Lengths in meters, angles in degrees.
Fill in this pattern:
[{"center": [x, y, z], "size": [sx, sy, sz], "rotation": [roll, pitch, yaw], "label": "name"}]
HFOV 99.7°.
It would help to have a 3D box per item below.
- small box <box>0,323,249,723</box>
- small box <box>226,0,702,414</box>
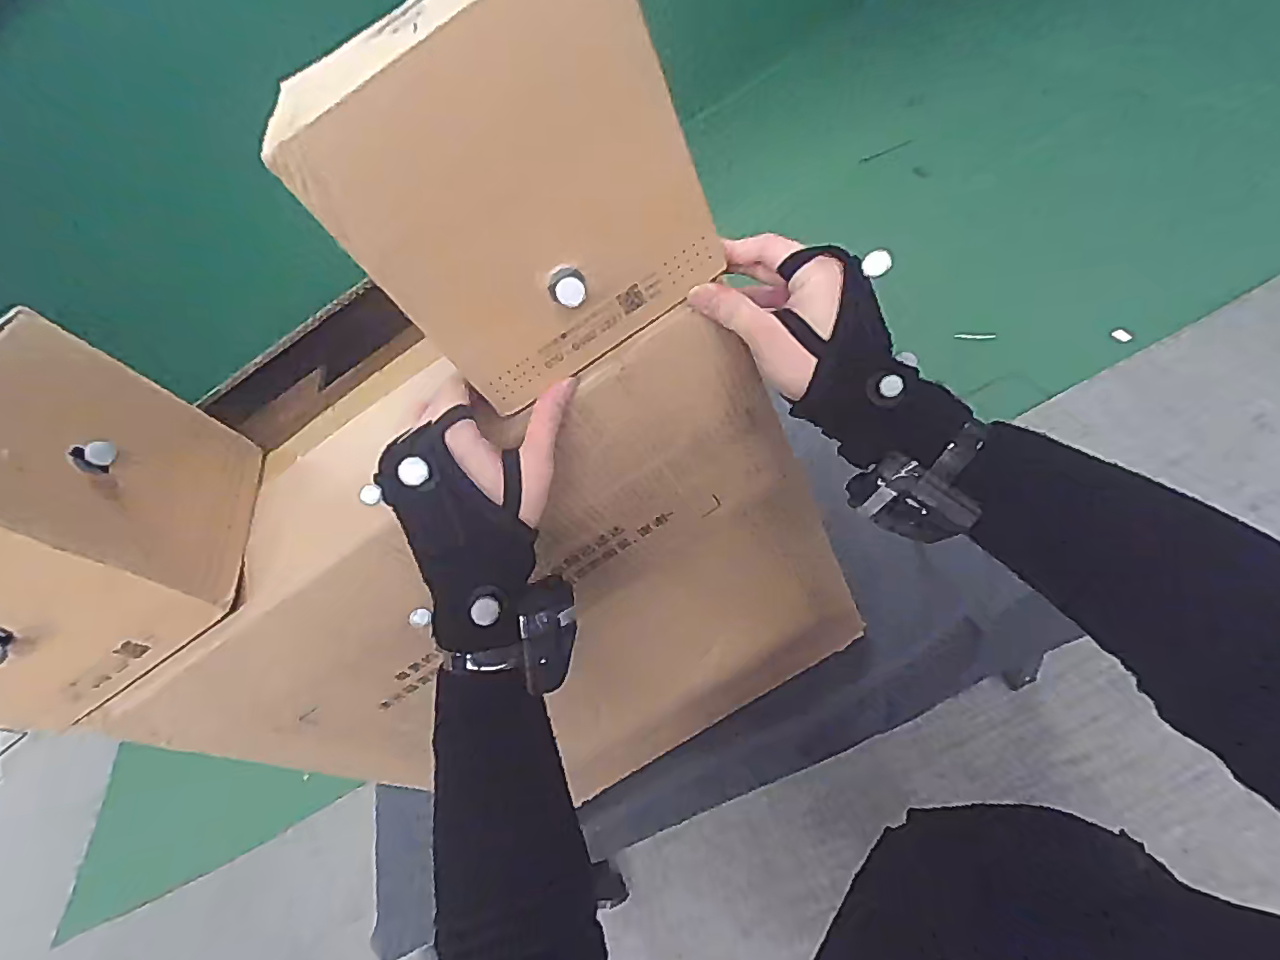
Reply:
[{"center": [-0.403, 0.039, 0.359], "size": [0.168, 0.176, 0.179], "rotation": [-34, 48, 6], "label": "small box"}, {"center": [-0.089, -0.172, 0.319], "size": [0.168, 0.176, 0.179], "rotation": [-33, 48, 5], "label": "small box"}]
